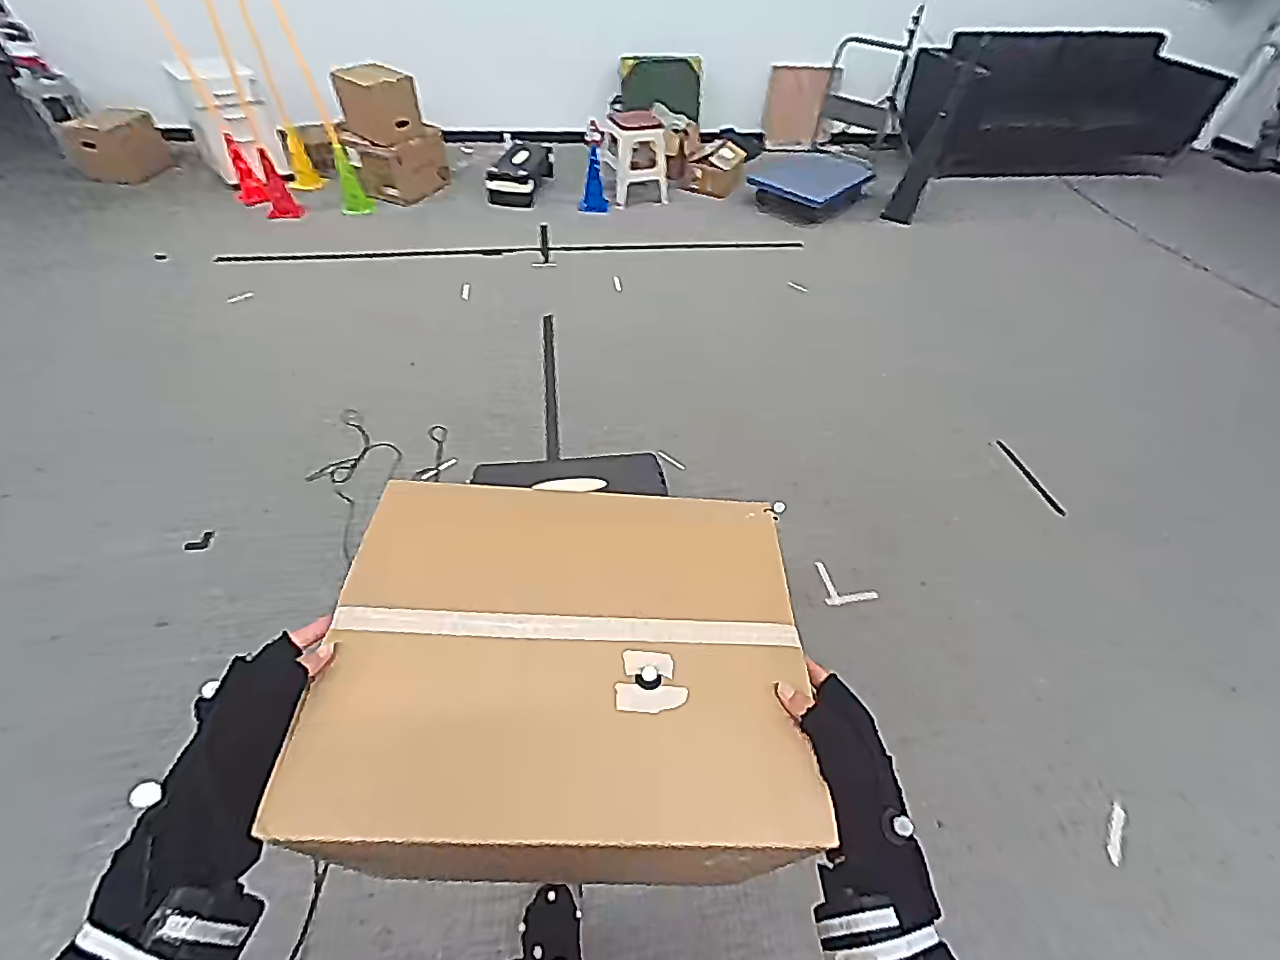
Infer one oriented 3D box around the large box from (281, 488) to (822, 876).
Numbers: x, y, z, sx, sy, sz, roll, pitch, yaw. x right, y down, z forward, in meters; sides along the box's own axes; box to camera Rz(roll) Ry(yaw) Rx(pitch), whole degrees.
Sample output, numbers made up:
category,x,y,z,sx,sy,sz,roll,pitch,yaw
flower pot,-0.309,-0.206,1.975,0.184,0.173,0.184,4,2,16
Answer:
category,x,y,z,sx,sy,sz,roll,pitch,yaw
large box,-0.074,0.230,0.601,0.408,0.320,0.320,4,49,-4
